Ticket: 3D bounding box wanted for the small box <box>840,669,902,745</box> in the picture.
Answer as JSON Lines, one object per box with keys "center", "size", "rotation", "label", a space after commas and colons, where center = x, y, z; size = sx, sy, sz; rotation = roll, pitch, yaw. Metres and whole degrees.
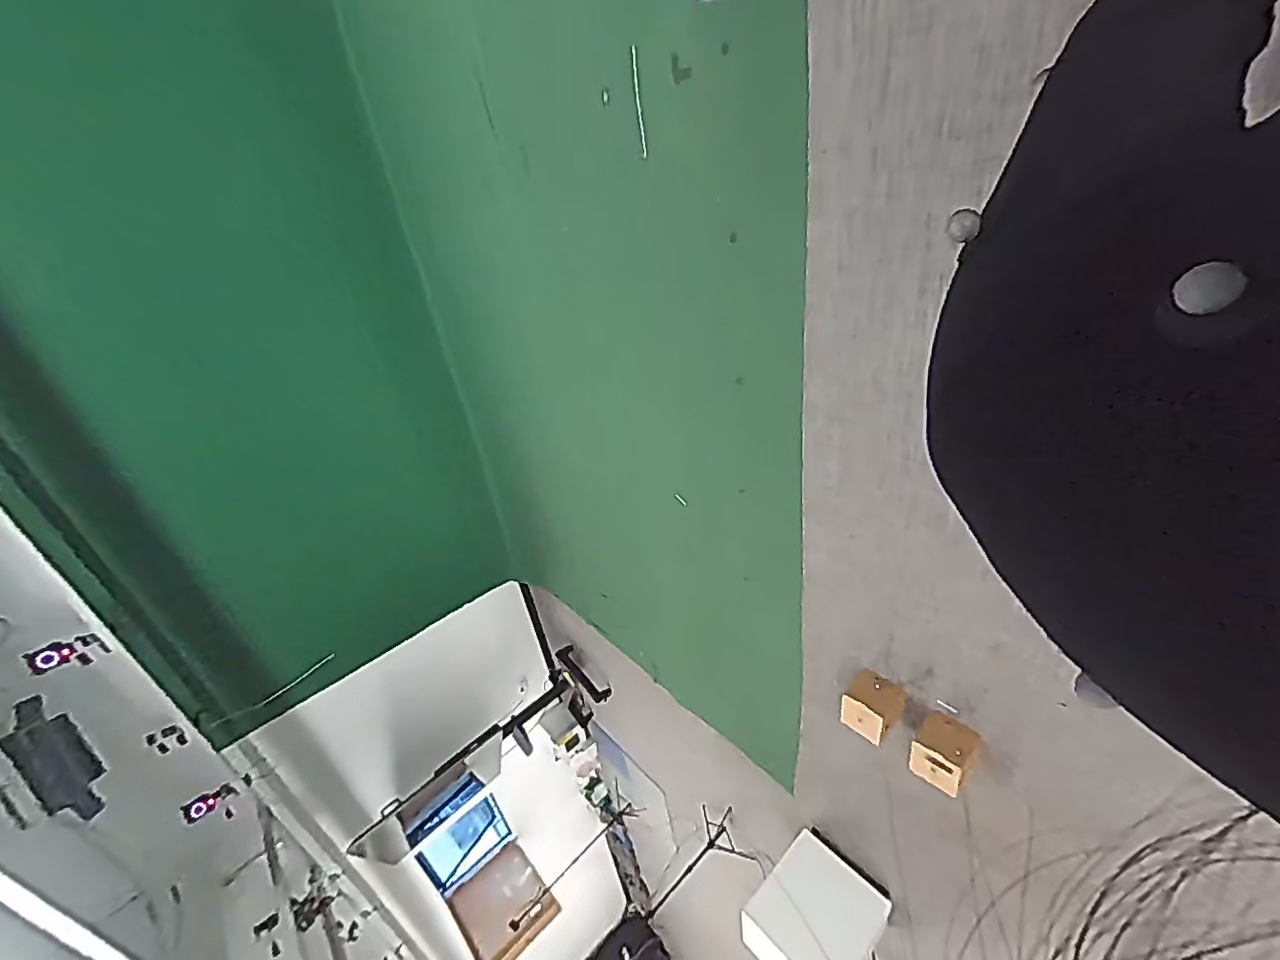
{"center": [0.913, 0.892, 2.135], "size": [0.168, 0.176, 0.179], "rotation": [26, 133, 43], "label": "small box"}
